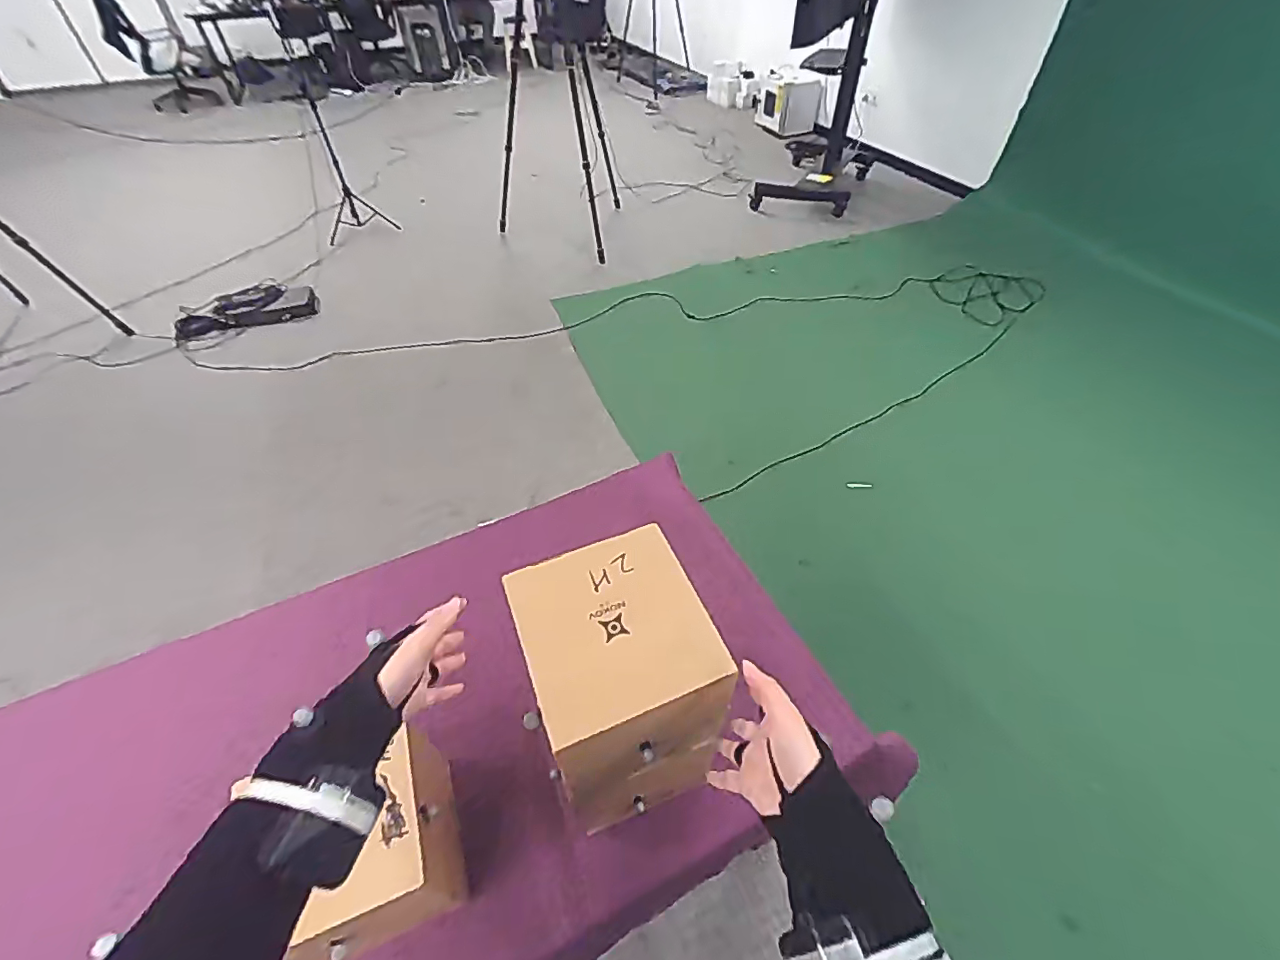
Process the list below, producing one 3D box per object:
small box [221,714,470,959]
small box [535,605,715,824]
[{"bbox_3d":[-0.304,0.393,0.589,0.179,0.176,0.168,-17,49,-15],"label":"small box"},{"bbox_3d":[-0.023,0.292,0.676,0.168,0.176,0.179,-17,50,-14],"label":"small box"}]
